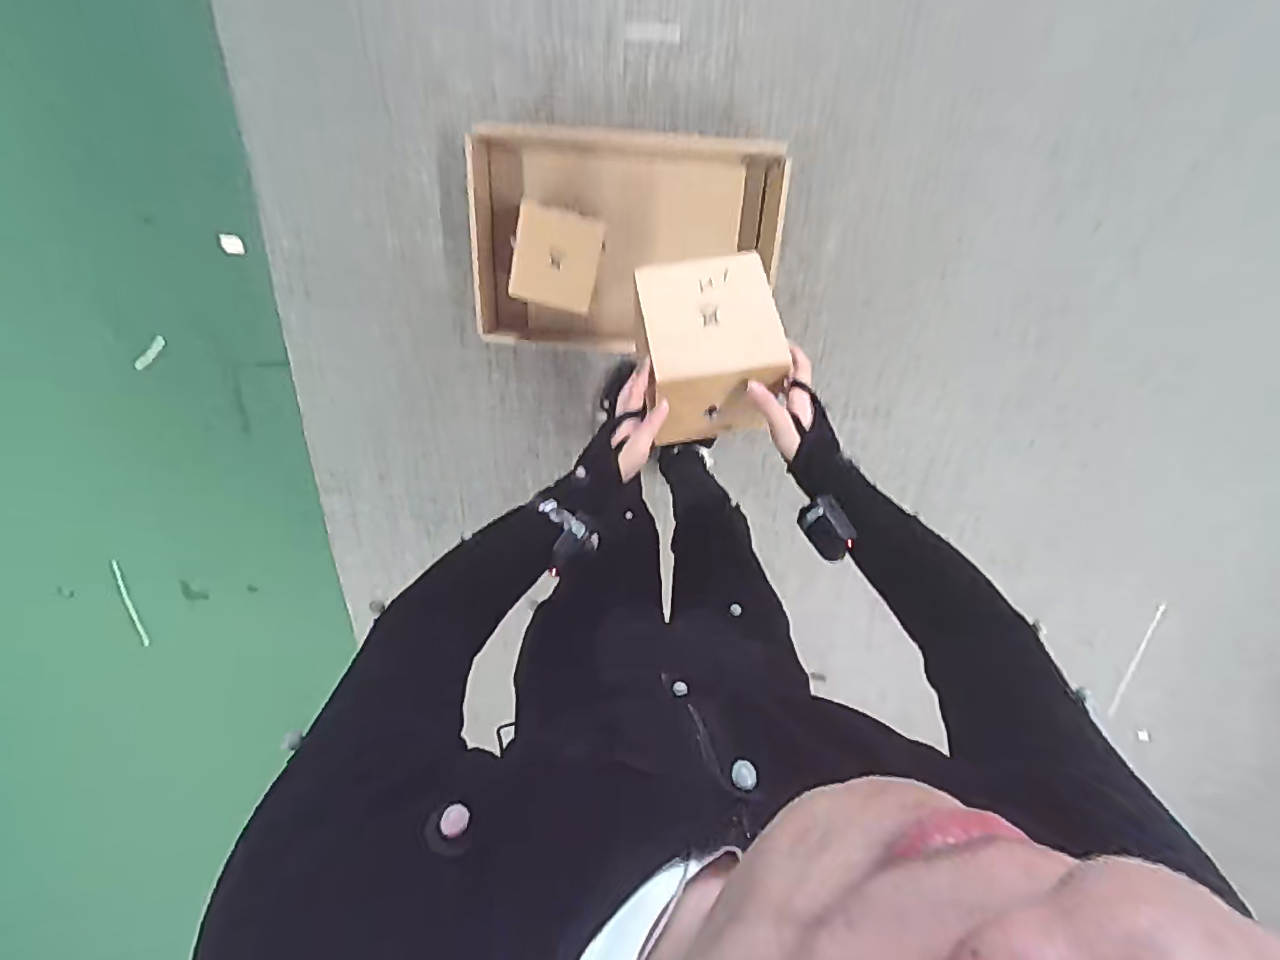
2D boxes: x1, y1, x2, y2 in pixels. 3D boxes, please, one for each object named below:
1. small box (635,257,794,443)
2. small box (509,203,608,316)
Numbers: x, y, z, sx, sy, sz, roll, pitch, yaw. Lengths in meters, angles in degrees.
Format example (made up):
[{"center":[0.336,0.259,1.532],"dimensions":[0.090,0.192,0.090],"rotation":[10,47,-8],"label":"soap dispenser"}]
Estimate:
[{"center":[0.088,-0.162,0.723],"dimensions":[0.168,0.179,0.176],"rotation":[-9,157,-3],"label":"small box"},{"center":[-0.164,-0.459,1.137],"dimensions":[0.168,0.176,0.179],"rotation":[13,111,-6],"label":"small box"}]
